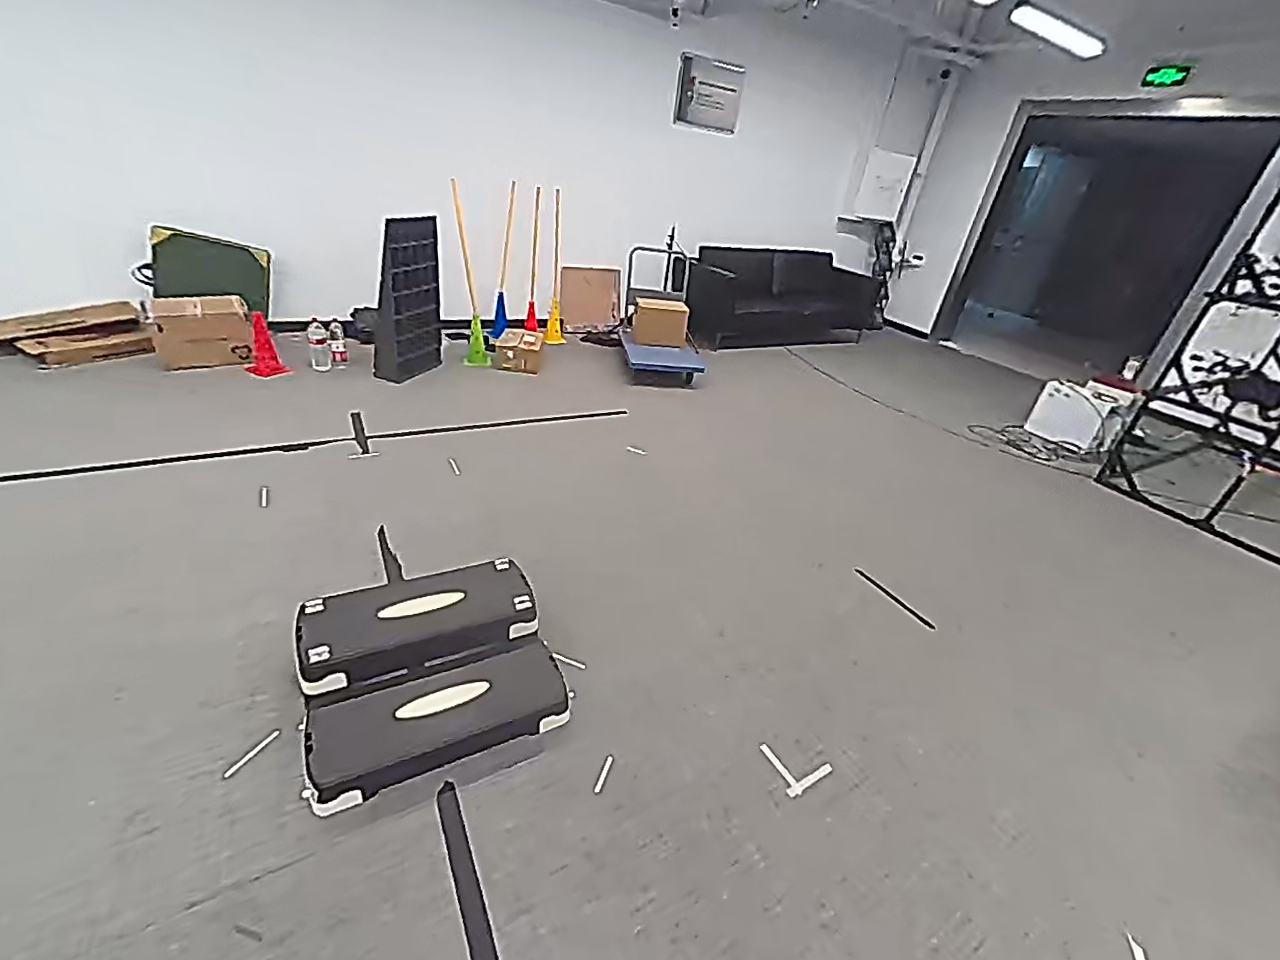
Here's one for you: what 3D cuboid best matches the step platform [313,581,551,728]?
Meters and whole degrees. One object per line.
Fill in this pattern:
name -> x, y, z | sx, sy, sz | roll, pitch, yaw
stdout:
step platform -> -0.633, 0.520, 1.701 | 0.684, 0.204, 0.286 | -6, 31, -25
